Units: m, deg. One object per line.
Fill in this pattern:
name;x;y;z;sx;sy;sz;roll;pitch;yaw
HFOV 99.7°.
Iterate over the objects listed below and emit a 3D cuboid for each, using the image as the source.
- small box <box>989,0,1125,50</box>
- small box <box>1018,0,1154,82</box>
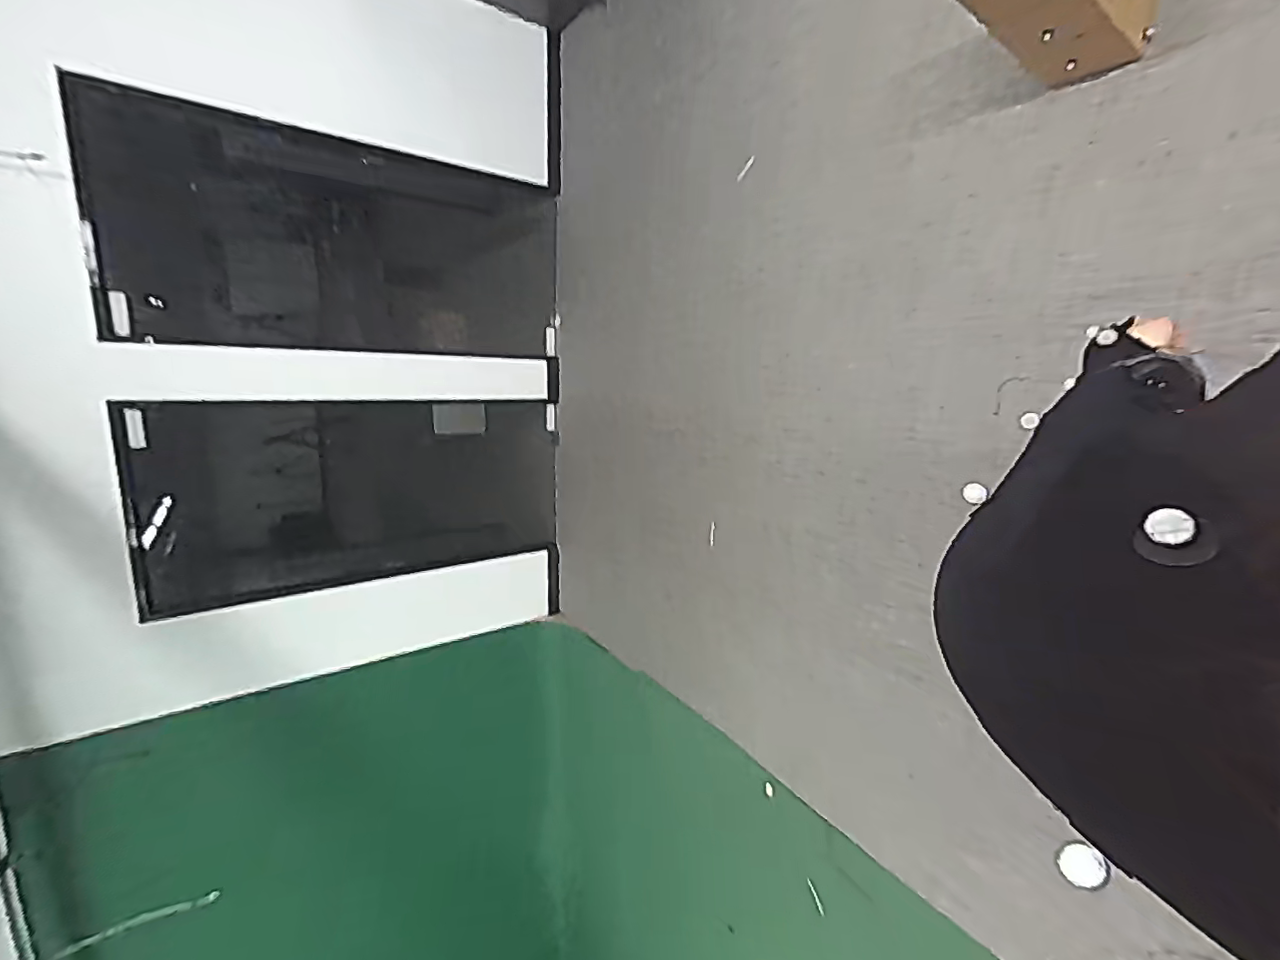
small box;0.790;-0.944;1.007;0.168;0.176;0.179;20;111;52
small box;0.921;-0.959;1.105;0.179;0.176;0.168;20;112;53
